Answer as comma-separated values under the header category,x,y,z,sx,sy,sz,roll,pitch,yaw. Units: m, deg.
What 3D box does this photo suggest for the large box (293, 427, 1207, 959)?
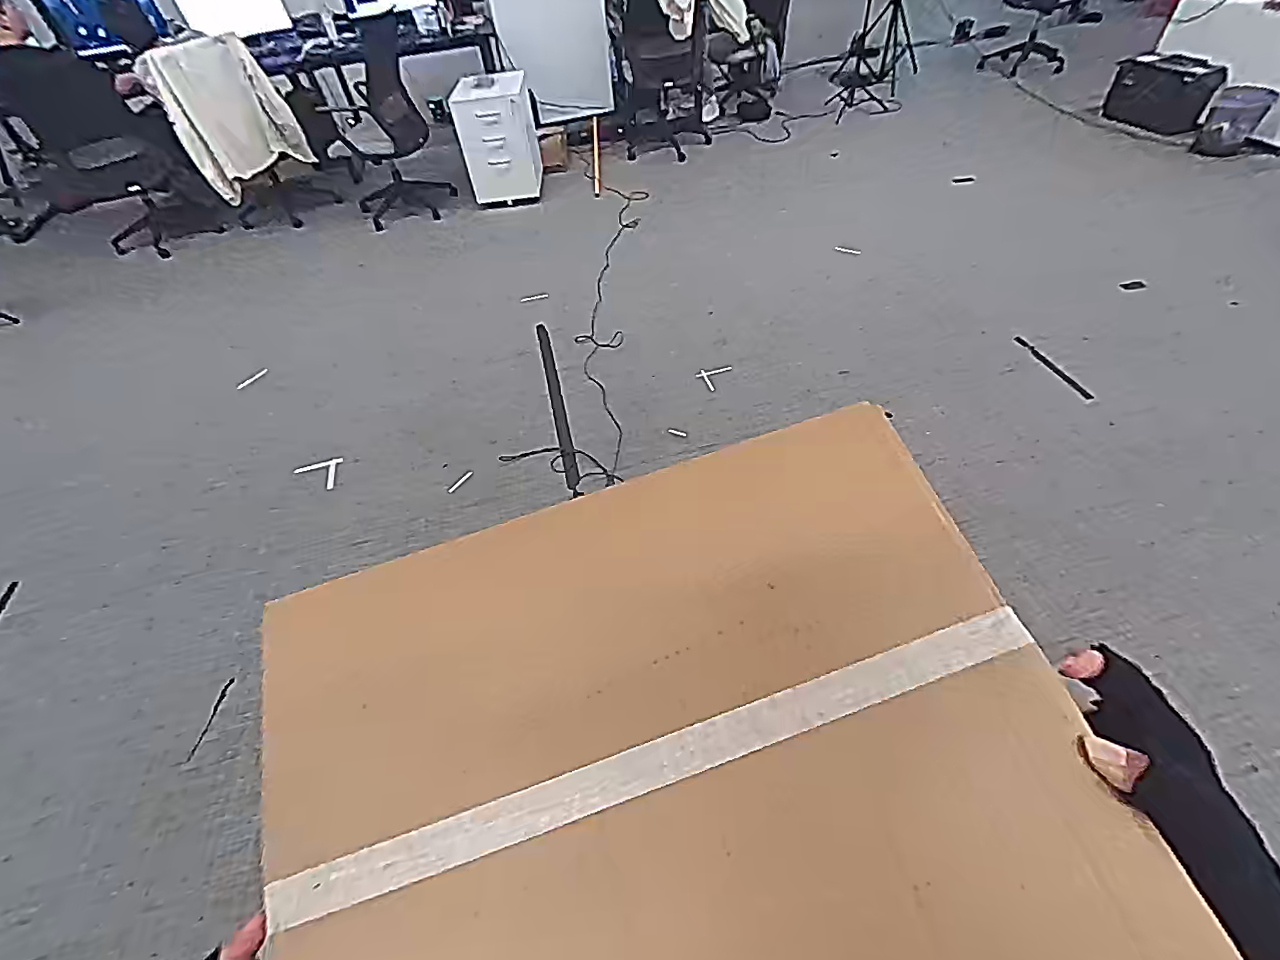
category,x,y,z,sx,sy,sz,roll,pitch,yaw
large box,0.031,0.218,0.418,0.408,0.320,0.320,-18,62,-3
